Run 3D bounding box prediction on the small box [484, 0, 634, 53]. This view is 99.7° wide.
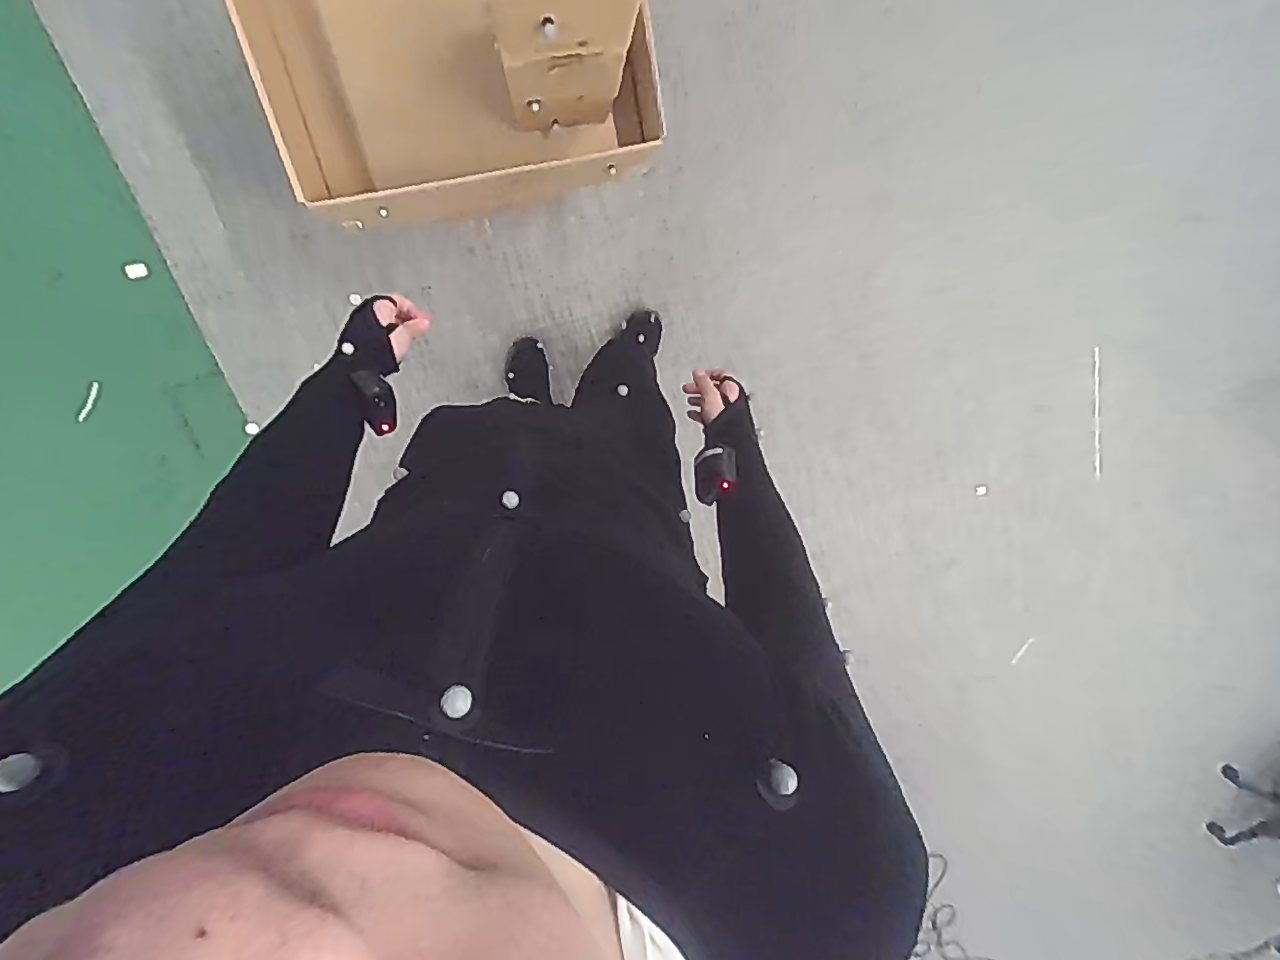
[{"bbox_3d":[-0.096,-0.602,0.591,0.168,0.176,0.179,-10,108,-4],"label":"small box"}]

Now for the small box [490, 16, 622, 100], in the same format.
[{"bbox_3d":[-0.120,-0.652,0.744,0.168,0.176,0.179,-10,108,-4],"label":"small box"}]
